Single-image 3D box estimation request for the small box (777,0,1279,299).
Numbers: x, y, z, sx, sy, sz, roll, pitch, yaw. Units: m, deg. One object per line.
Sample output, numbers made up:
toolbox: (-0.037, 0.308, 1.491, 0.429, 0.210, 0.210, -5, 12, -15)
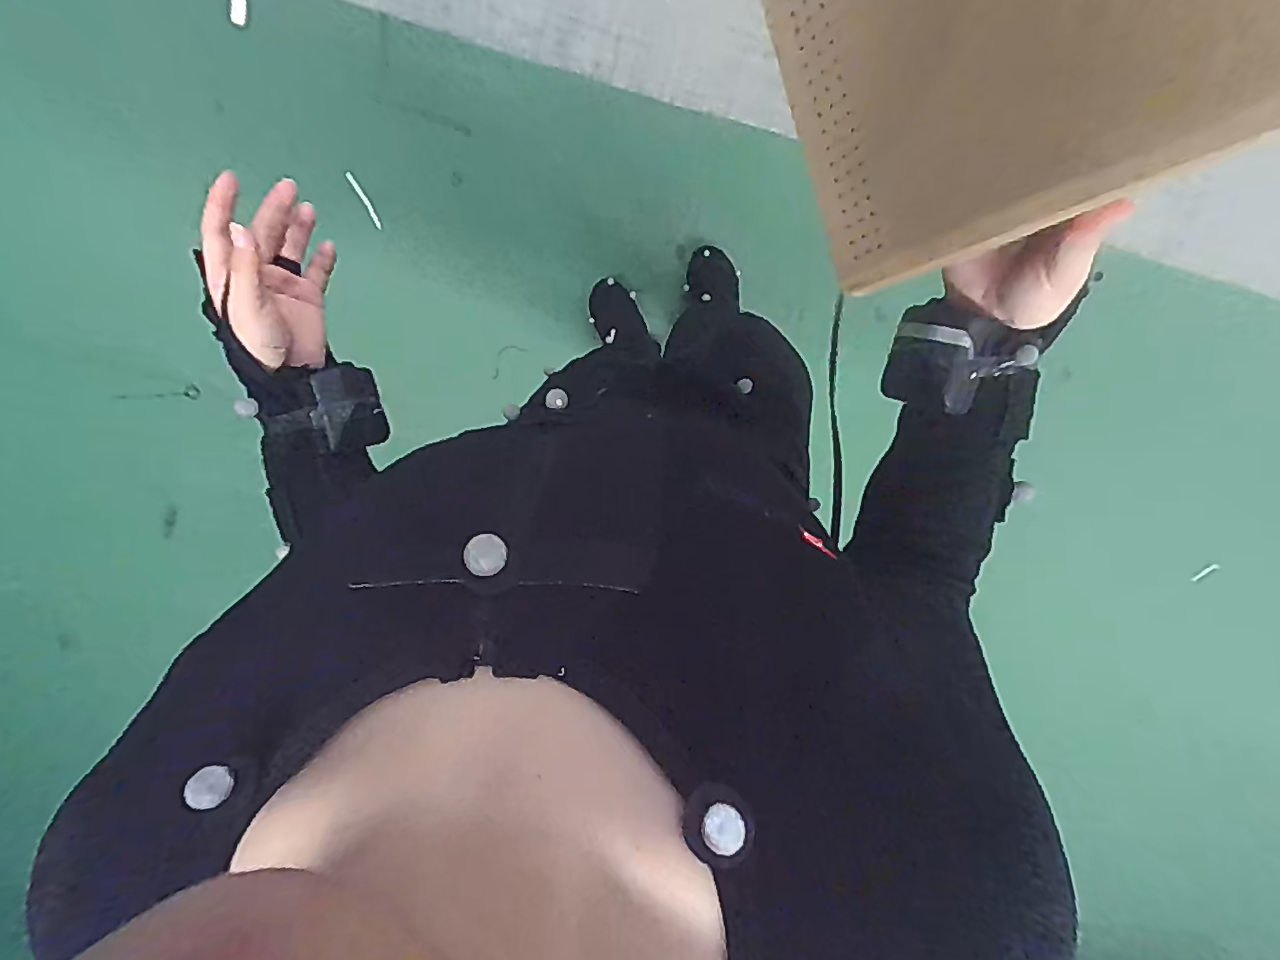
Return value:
small box: (0.170, -0.188, 0.188, 0.168, 0.176, 0.179, -24, 100, -18)
